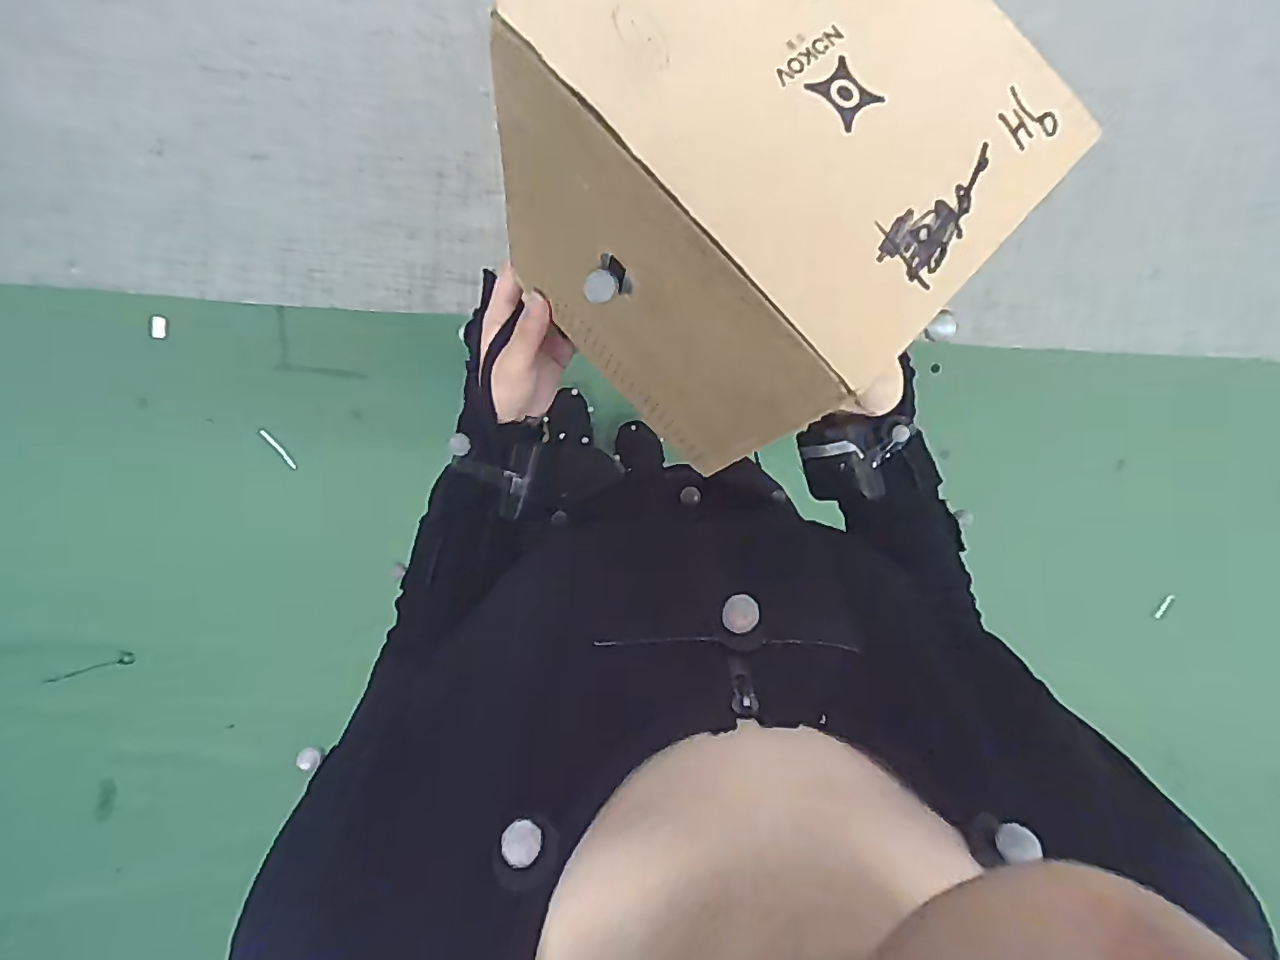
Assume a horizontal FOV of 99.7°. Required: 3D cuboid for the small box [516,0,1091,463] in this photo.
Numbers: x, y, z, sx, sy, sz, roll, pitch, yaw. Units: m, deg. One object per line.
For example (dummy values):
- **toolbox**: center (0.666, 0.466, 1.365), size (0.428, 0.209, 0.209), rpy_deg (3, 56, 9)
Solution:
- **small box**: center (0.057, -0.130, 0.282), size (0.179, 0.176, 0.168), rpy_deg (45, 77, 0)
